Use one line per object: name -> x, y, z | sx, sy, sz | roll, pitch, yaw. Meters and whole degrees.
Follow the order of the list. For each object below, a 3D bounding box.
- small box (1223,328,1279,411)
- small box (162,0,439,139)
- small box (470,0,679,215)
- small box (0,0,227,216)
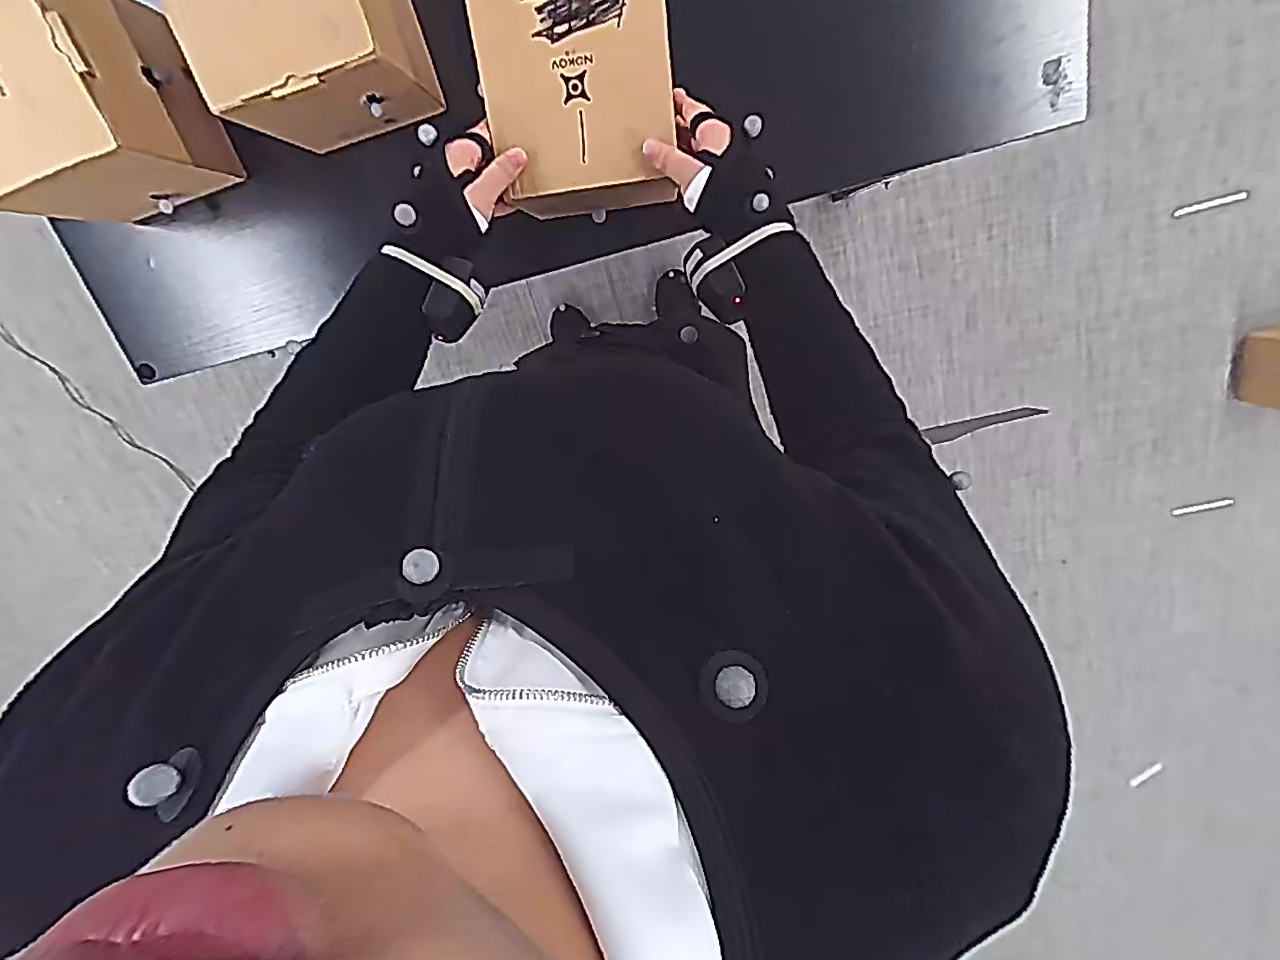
small box -> 1.584, -0.274, 1.309 | 0.168, 0.176, 0.179 | -12, 110, 7
small box -> -0.321, -0.453, 0.518 | 0.168, 0.176, 0.179 | -14, 109, 5
small box -> -0.052, -0.375, 0.537 | 0.168, 0.176, 0.179 | -5, 111, 4
small box -> -0.572, -0.385, 0.548 | 0.179, 0.176, 0.168 | -16, 109, 6
